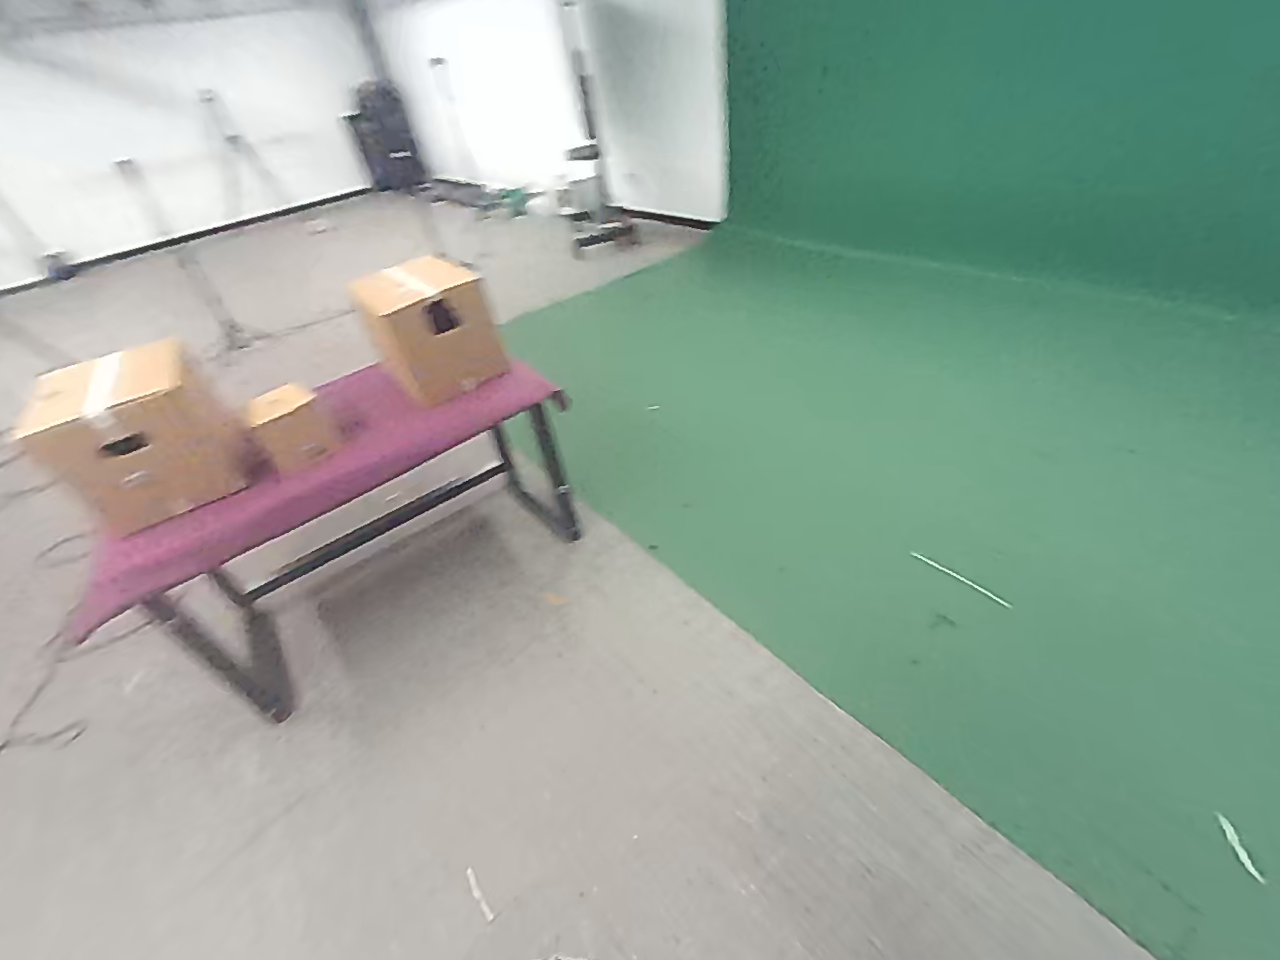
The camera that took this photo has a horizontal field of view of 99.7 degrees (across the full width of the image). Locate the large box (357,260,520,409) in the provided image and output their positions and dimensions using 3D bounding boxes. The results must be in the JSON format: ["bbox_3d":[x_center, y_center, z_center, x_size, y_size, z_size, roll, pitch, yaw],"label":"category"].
[{"bbox_3d":[-0.651,-0.485,1.763,0.320,0.320,0.408,-33,45,-23],"label":"large box"}]
